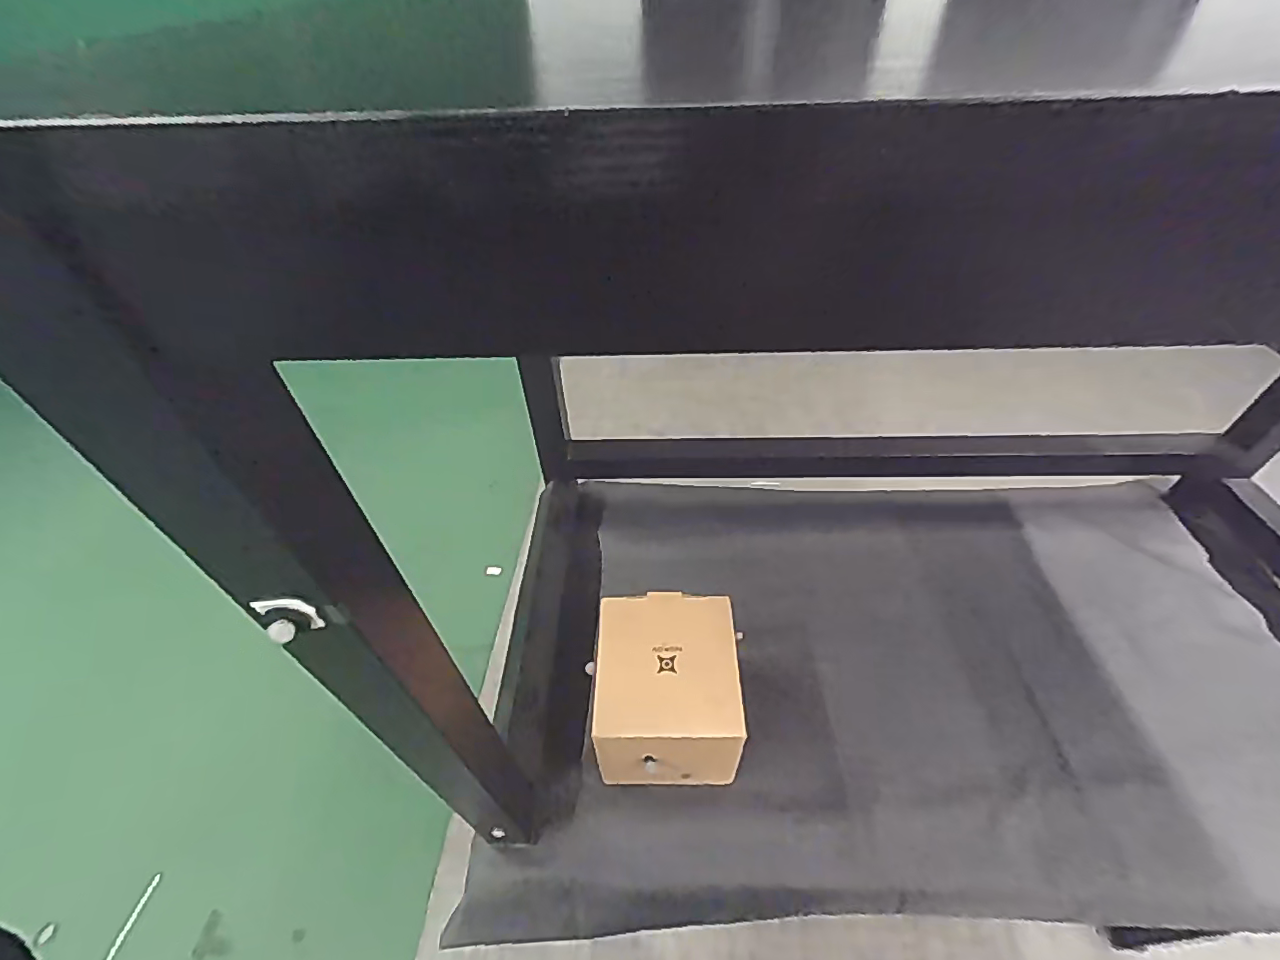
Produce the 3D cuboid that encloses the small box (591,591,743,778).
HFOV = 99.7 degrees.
[{"bbox_3d":[0.034,0.261,0.684,0.168,0.176,0.179,-1,45,2],"label":"small box"}]
